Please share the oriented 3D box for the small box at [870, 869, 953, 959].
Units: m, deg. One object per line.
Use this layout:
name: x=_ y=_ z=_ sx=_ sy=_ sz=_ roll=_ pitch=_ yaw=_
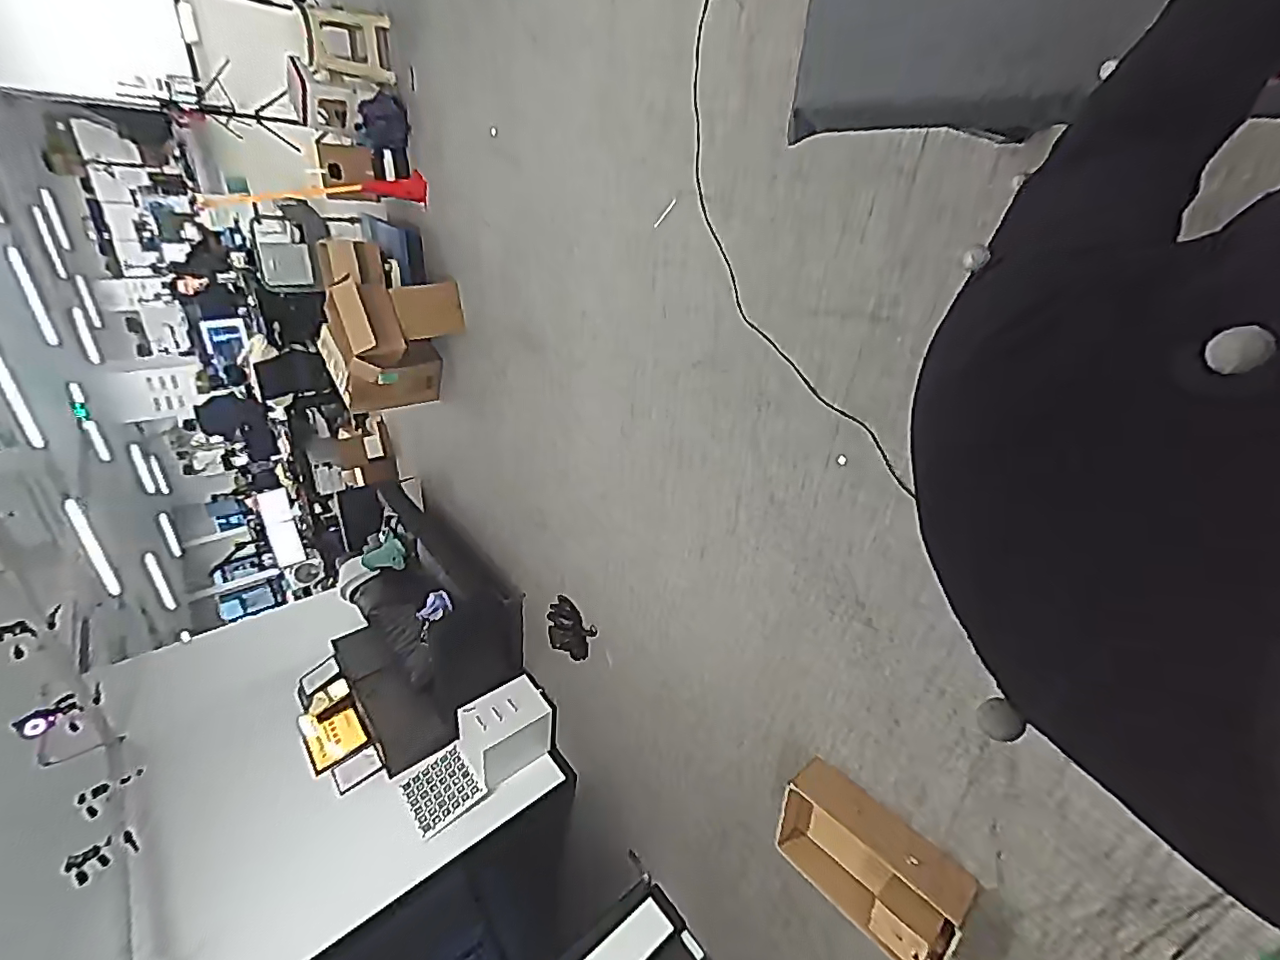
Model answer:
small box: x=0.901 y=1.448 z=1.799 sx=0.179 sy=0.176 sz=0.168 roll=25 pitch=125 yaw=45
